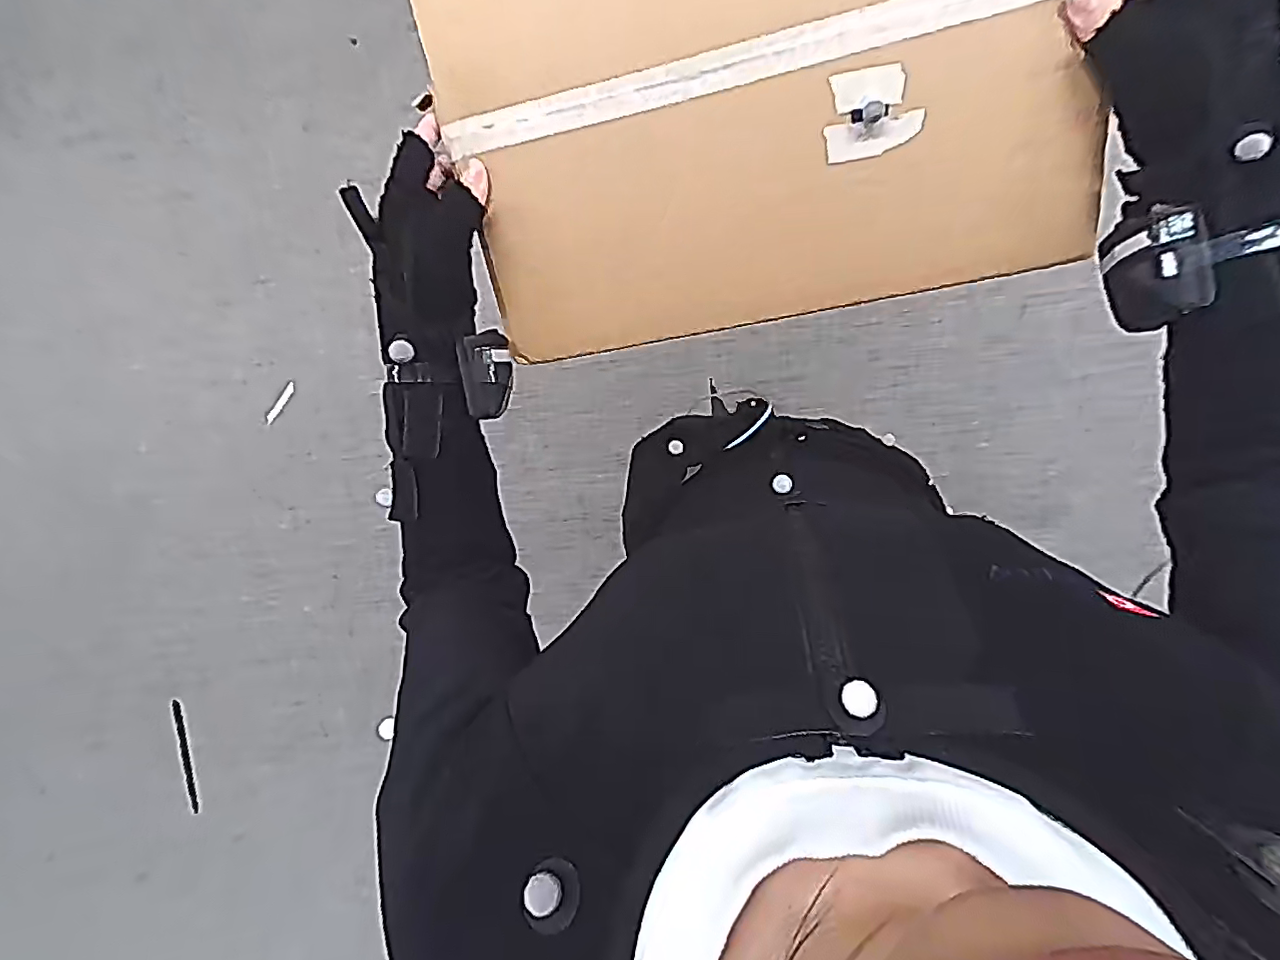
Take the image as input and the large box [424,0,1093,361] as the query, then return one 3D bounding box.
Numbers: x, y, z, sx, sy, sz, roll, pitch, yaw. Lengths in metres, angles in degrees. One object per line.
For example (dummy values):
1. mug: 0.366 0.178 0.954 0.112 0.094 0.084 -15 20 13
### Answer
1. large box: 0.083 -0.322 0.483 0.408 0.320 0.320 -10 112 9
